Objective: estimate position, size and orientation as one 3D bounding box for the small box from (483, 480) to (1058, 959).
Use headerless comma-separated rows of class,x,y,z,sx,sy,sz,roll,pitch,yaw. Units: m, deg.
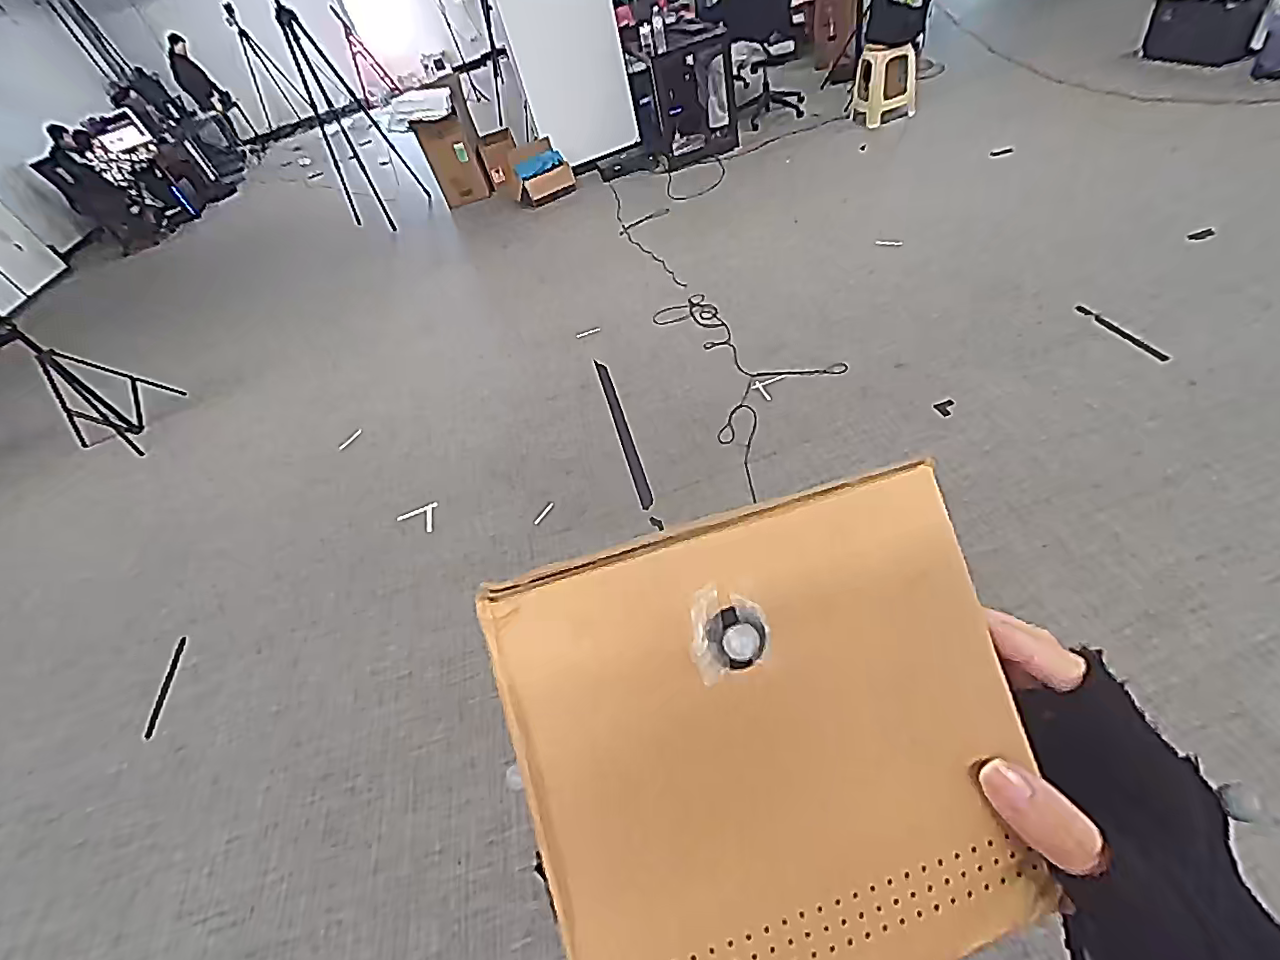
small box,0.046,0.112,0.265,0.179,0.168,0.176,-16,84,-6
